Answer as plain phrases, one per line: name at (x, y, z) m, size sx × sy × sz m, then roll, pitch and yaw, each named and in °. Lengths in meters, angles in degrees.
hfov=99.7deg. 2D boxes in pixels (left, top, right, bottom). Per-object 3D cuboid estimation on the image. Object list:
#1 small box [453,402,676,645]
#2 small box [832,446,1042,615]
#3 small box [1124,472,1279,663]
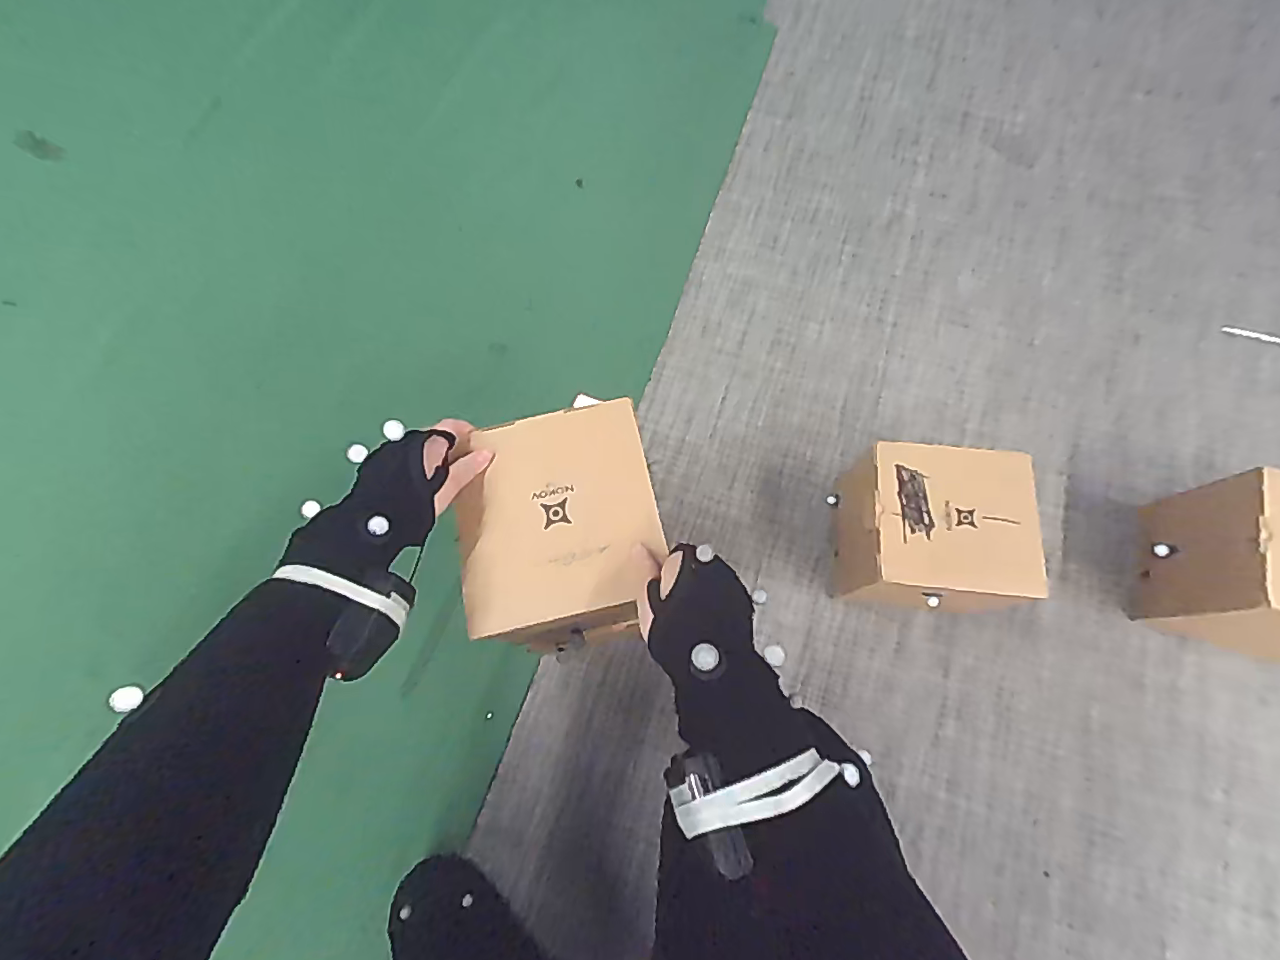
small box at (-0.066, 0.052, 0.524) m, size 0.168 × 0.176 × 0.179 m, roll -12°, pitch 70°, yaw -2°
small box at (0.348, 0.071, 0.675) m, size 0.179 × 0.176 × 0.168 m, roll 6°, pitch 71°, yaw 3°
small box at (0.743, 0.114, 0.647) m, size 0.179 × 0.176 × 0.168 m, roll 18°, pitch 71°, yaw 8°
